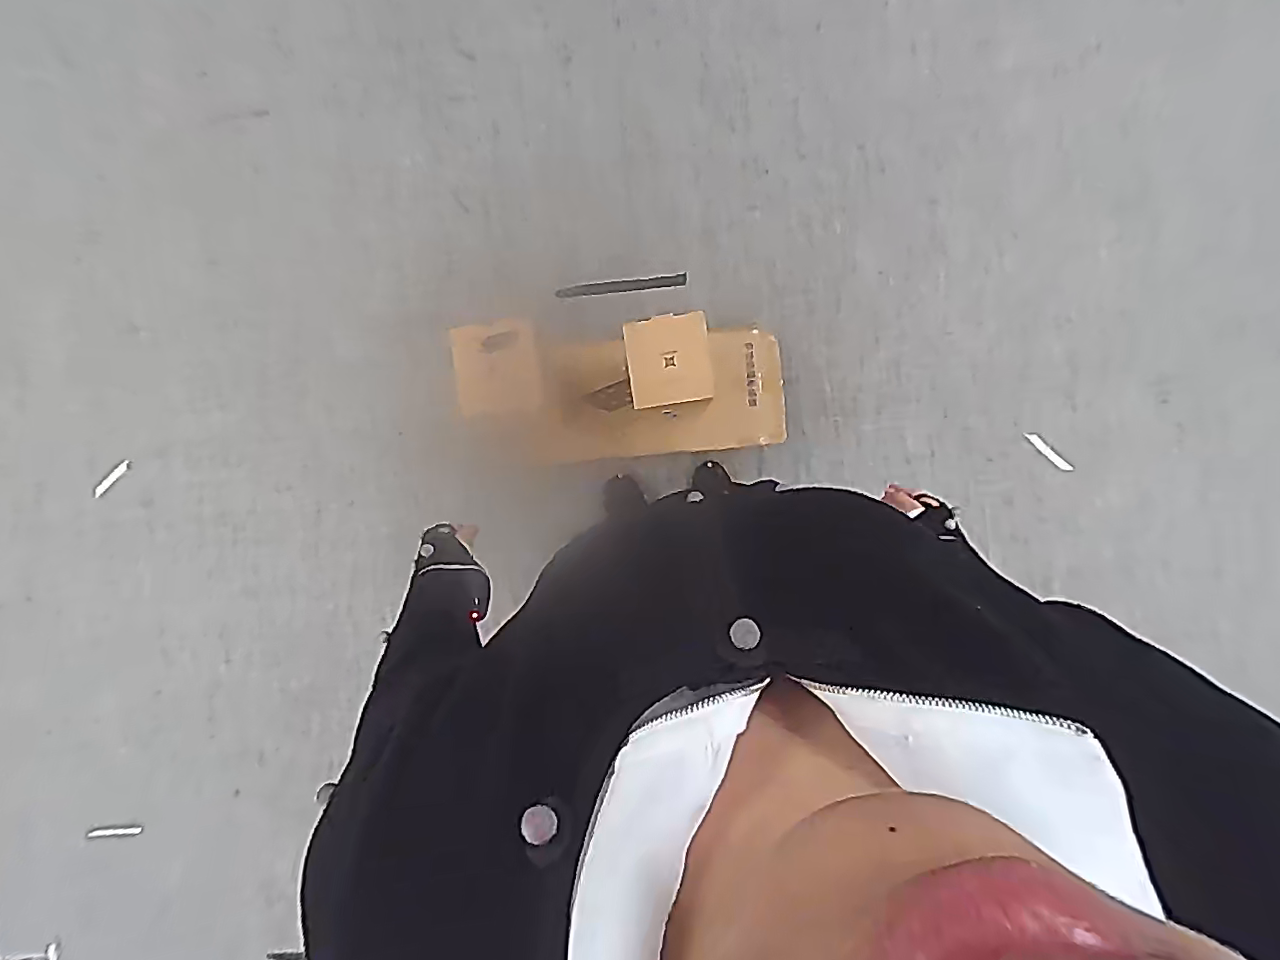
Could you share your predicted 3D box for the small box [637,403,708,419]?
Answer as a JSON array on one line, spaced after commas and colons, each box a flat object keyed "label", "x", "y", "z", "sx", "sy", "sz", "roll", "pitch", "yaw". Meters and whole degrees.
[{"label": "small box", "x": 0.068, "y": -0.244, "z": 1.308, "sx": 0.168, "sy": 0.176, "sz": 0.179, "roll": -7, "pitch": 92, "yaw": 1}]

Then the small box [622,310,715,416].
[{"label": "small box", "x": 0.057, "y": -0.240, "z": 1.145, "sx": 0.168, "sy": 0.176, "sz": 0.179, "roll": -9, "pitch": 92, "yaw": 2}]
